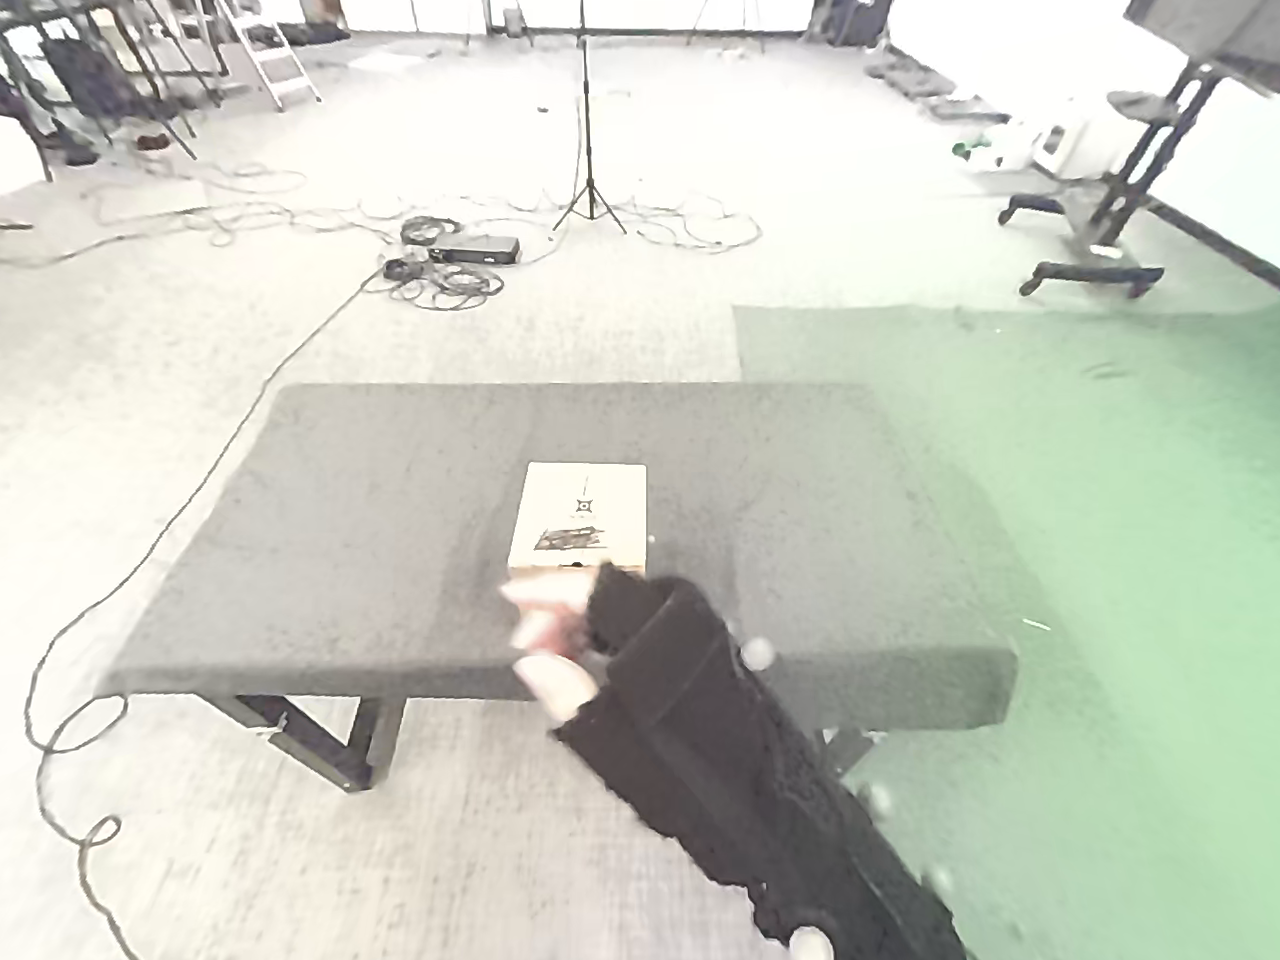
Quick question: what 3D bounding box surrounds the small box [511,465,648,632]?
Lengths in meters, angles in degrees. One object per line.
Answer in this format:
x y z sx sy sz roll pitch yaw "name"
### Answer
-0.074 0.100 0.767 0.168 0.176 0.179 3 46 0 "small box"
